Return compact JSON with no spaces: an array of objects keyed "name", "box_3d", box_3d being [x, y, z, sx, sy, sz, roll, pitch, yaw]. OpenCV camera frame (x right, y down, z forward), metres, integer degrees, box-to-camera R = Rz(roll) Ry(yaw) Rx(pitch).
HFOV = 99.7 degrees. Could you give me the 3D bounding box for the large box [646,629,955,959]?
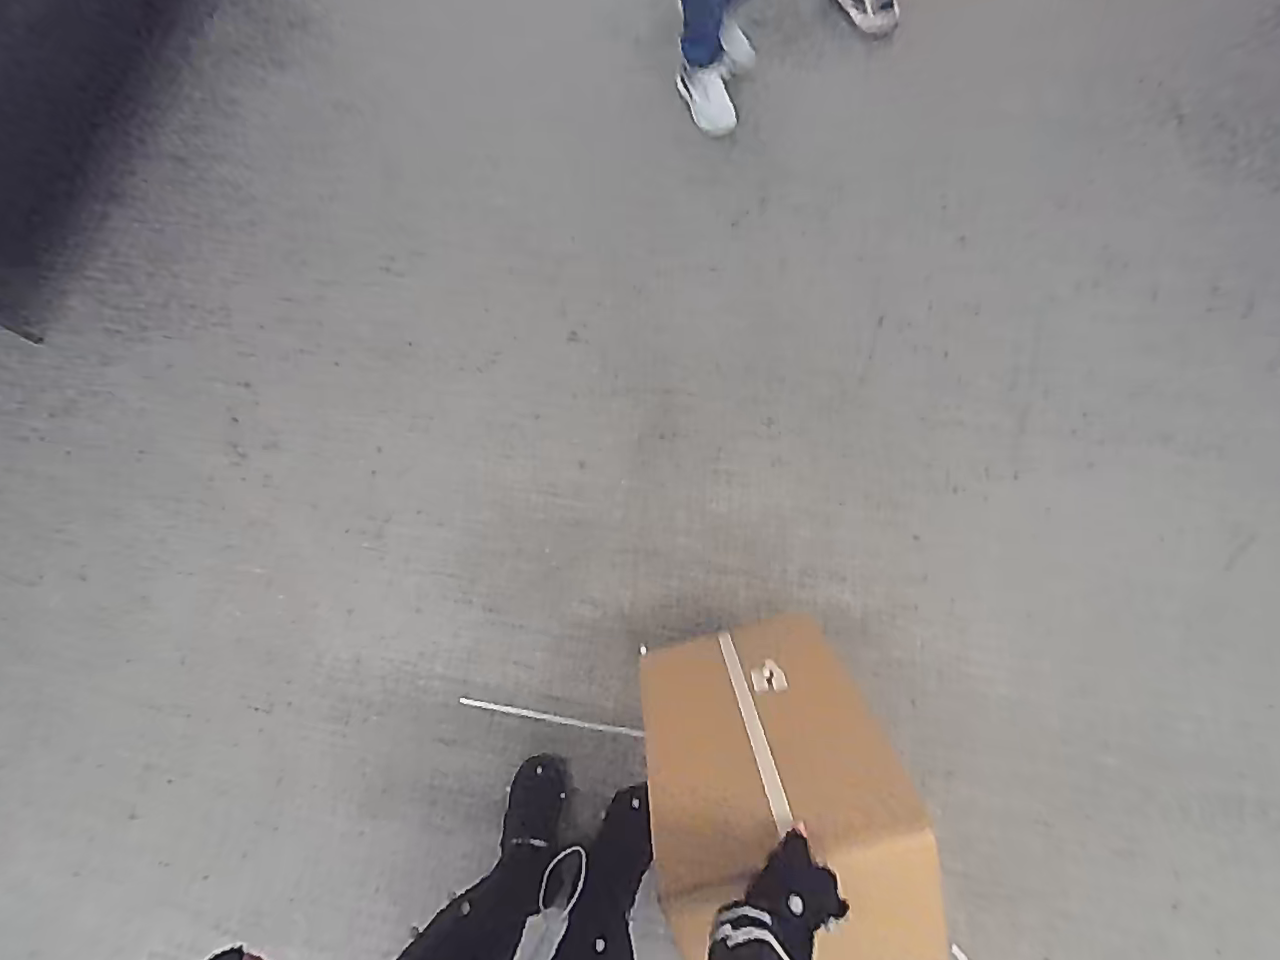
[{"name":"large box","box_3d":[0.210,0.503,0.820,0.320,0.408,0.320,-15,110,2]}]
